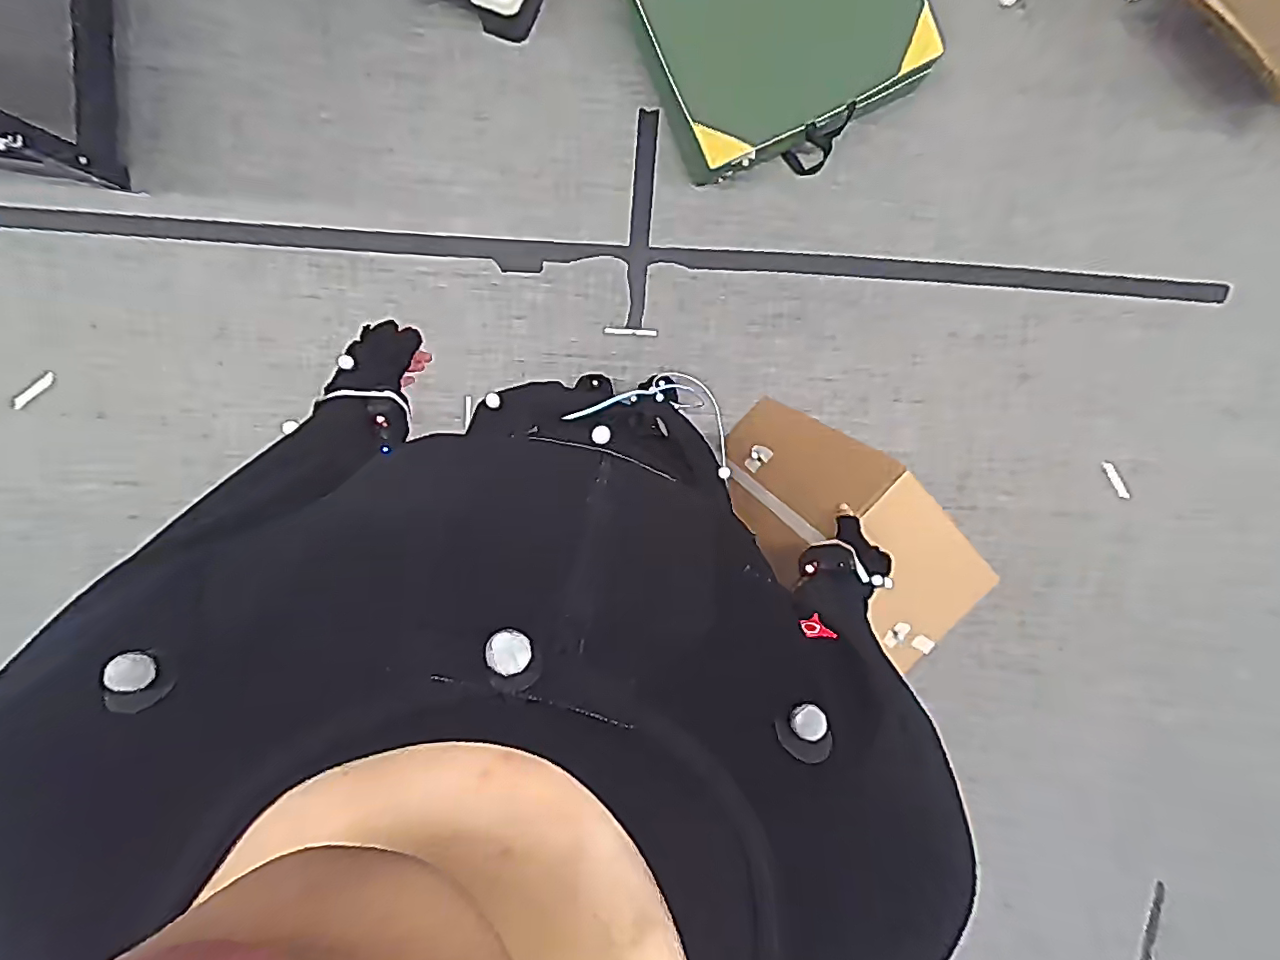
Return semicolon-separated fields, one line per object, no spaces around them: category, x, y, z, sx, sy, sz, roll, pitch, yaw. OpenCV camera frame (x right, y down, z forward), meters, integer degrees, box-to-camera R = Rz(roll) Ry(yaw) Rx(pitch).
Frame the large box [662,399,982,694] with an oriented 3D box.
large box;0.303;0.101;0.996;0.320;0.408;0.320;39;97;-26
